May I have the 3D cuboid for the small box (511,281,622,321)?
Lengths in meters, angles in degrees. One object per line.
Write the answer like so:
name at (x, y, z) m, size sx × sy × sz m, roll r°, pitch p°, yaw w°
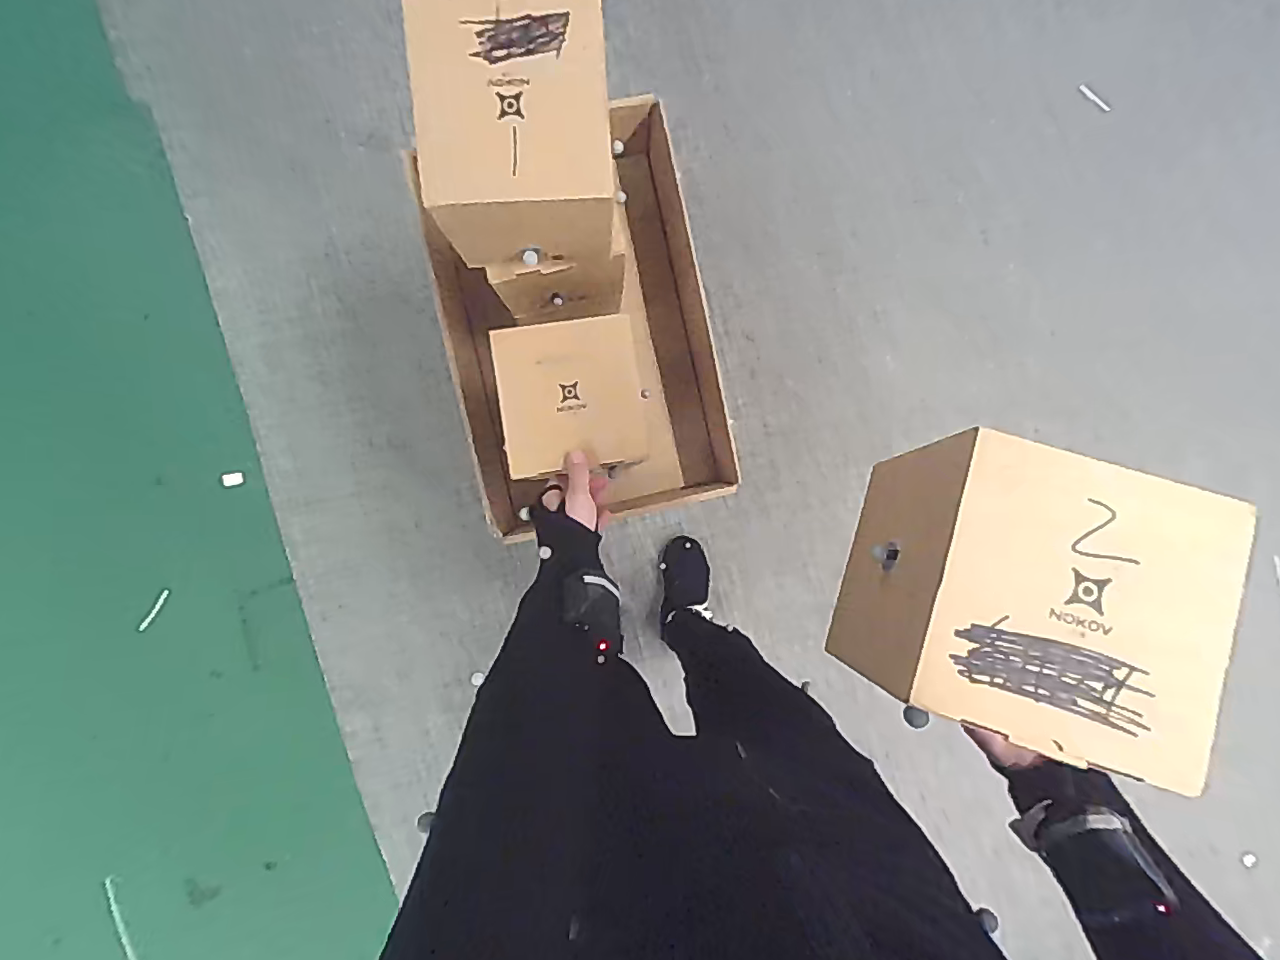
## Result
small box at (-0.129, -0.351, 0.866) m, size 0.168 × 0.176 × 0.179 m, roll -13°, pitch 94°, yaw -2°

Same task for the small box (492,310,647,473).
small box at (-0.084, -0.105, 0.710) m, size 0.168 × 0.176 × 0.179 m, roll -8°, pitch 90°, yaw -3°

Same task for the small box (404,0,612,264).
small box at (-0.117, -0.334, 0.540) m, size 0.168 × 0.176 × 0.179 m, roll -4°, pitch 95°, yaw -3°

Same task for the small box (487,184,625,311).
small box at (-0.121, -0.340, 0.704) m, size 0.168 × 0.176 × 0.179 m, roll -14°, pitch 95°, yaw -3°
